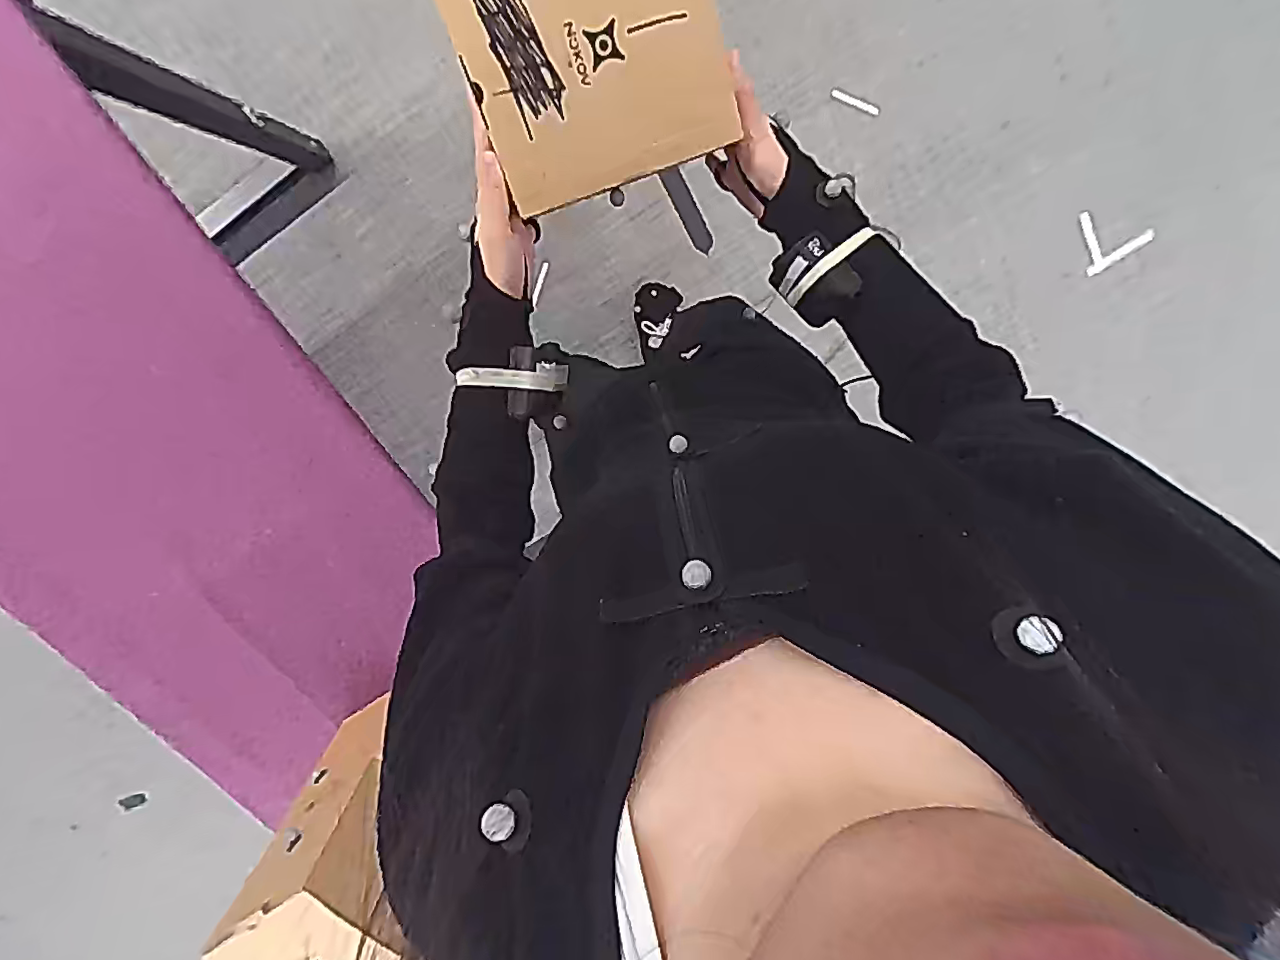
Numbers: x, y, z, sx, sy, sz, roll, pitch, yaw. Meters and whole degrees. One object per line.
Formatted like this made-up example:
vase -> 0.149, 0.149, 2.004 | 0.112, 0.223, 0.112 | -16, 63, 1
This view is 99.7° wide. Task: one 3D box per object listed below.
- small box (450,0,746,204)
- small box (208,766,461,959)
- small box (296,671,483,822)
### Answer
small box -> -0.030, -0.333, 0.432 | 0.179, 0.176, 0.168 | -16, 118, 6
small box -> -0.357, 0.492, 0.671 | 0.168, 0.176, 0.179 | -36, 107, 11
small box -> -0.360, 0.428, 0.822 | 0.179, 0.176, 0.168 | -34, 108, 10
